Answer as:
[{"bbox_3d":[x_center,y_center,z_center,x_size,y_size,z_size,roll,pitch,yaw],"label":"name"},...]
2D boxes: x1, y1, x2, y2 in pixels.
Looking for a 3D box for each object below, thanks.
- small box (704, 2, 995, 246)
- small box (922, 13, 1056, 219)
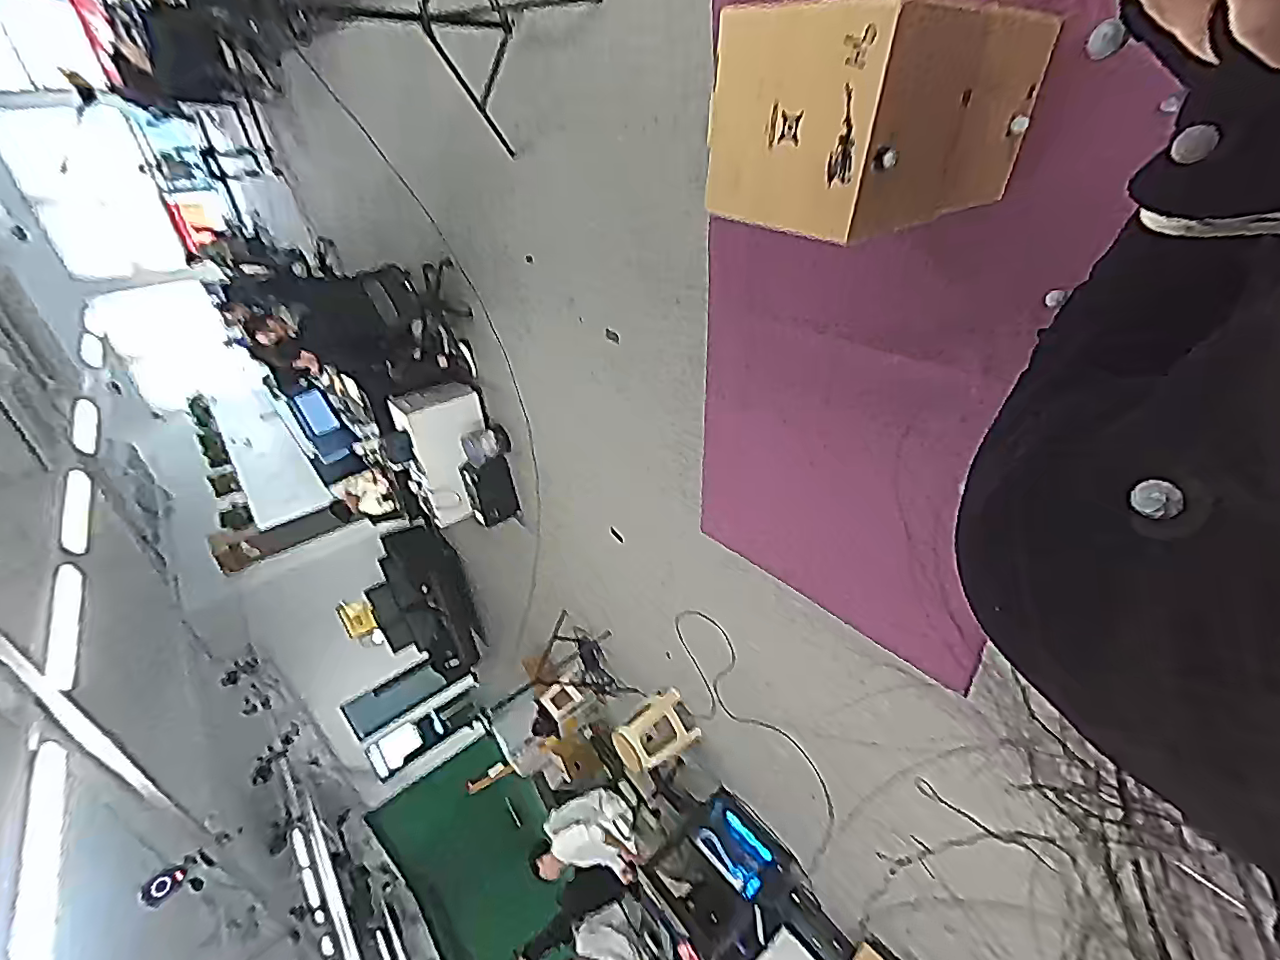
[{"bbox_3d":[0.187,-0.338,0.516,0.179,0.176,0.168,37,140,38],"label":"small box"},{"bbox_3d":[0.310,-0.402,0.605,0.179,0.176,0.168,34,139,39],"label":"small box"}]
